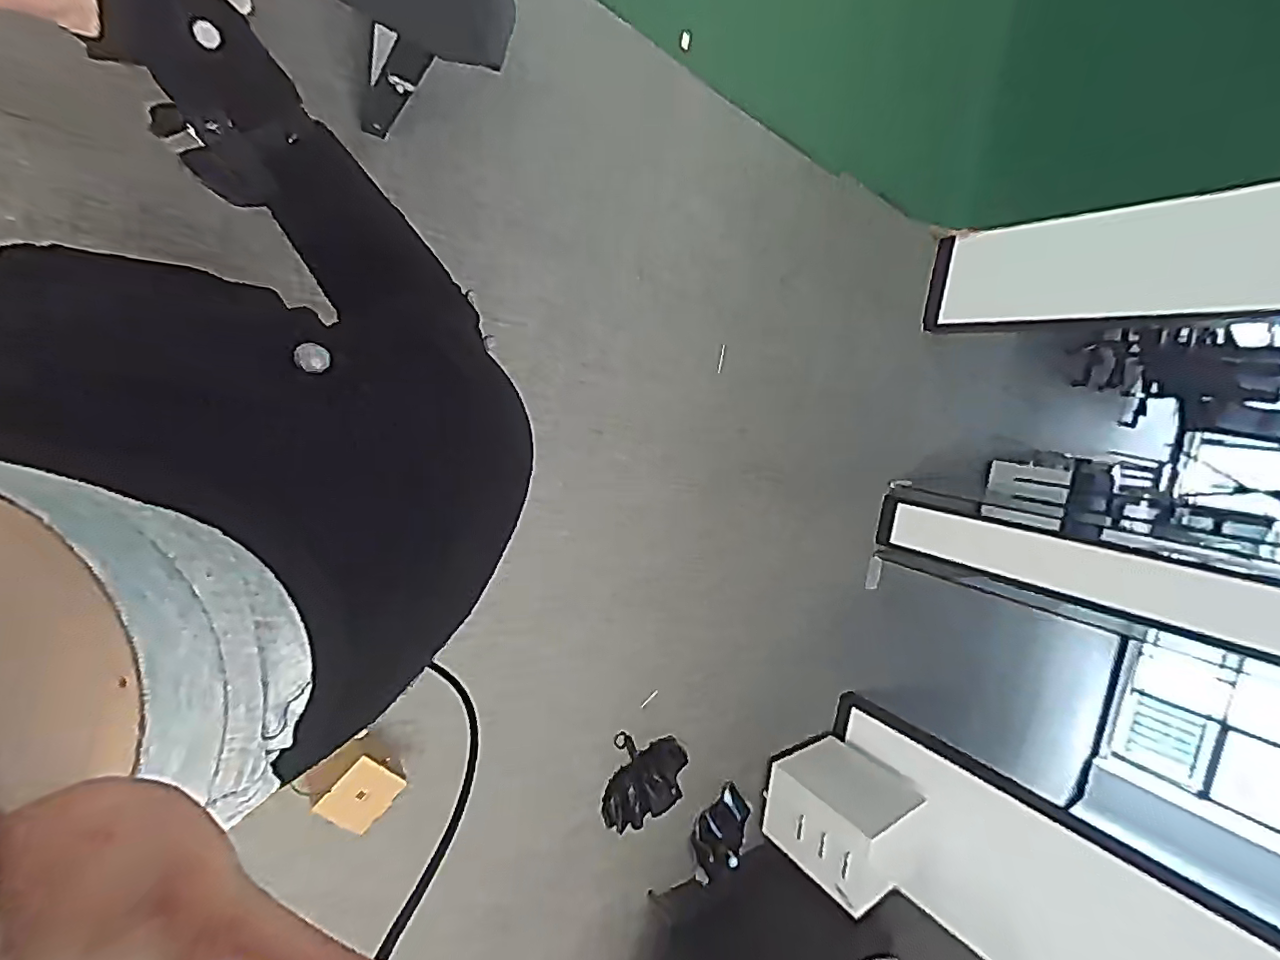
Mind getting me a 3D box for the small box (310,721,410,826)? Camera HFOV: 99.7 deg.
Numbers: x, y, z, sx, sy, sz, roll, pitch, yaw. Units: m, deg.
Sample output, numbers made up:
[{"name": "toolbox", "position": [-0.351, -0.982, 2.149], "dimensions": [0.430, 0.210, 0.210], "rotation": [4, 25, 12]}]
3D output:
[{"name": "small box", "position": [-0.783, 0.811, 1.509], "dimensions": [0.168, 0.176, 0.179], "rotation": [-48, 123, -20]}]
